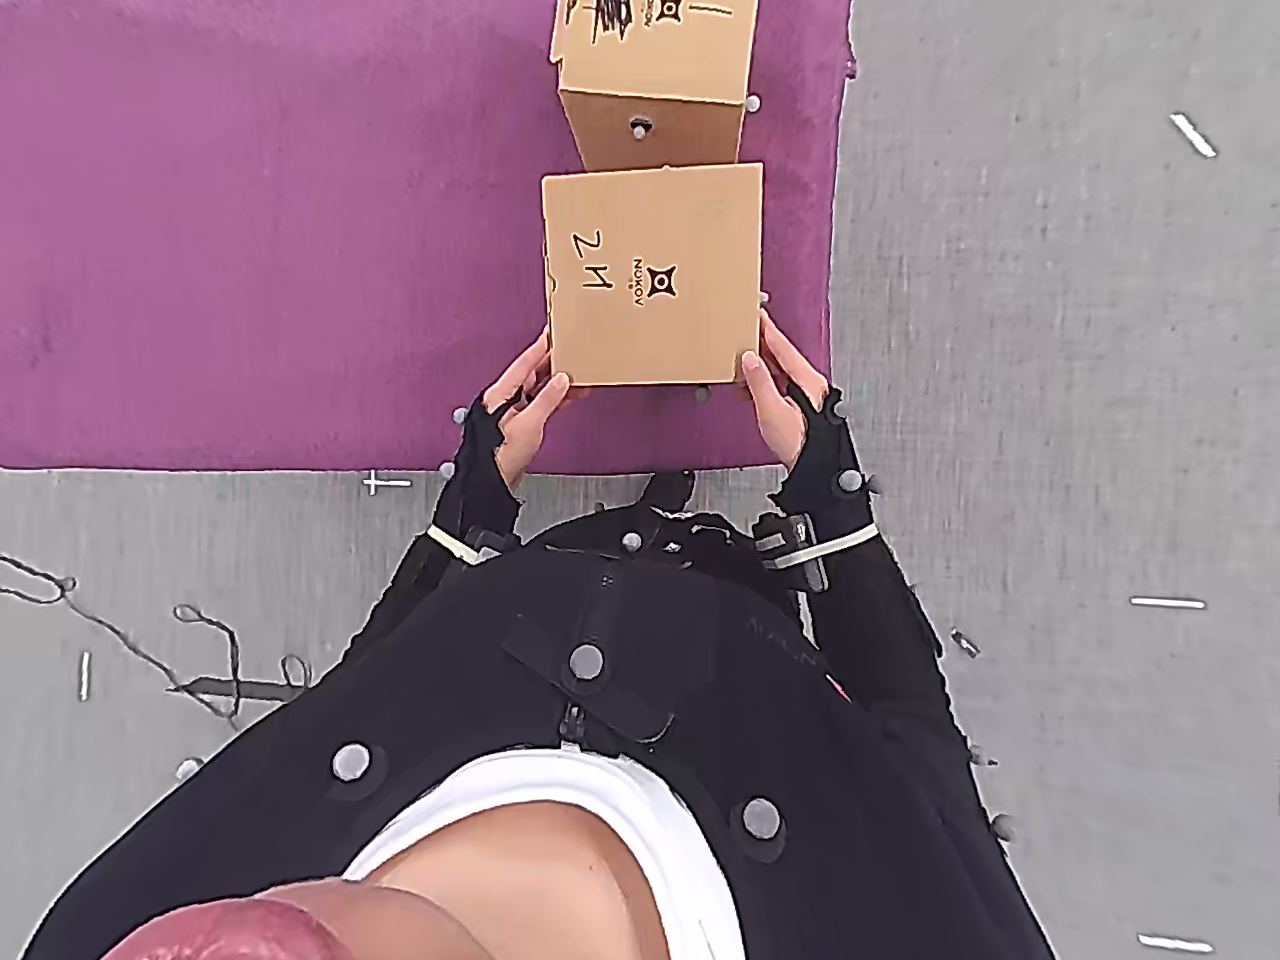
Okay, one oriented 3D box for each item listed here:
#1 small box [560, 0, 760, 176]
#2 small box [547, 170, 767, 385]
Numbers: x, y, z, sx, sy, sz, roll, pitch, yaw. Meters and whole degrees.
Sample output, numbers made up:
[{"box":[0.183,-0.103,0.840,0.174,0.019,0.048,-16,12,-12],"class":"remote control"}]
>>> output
[{"box":[0.028,-0.433,0.579,0.179,0.176,0.168,8,93,5],"class":"small box"},{"box":[0.020,-0.177,0.517,0.179,0.176,0.168,0,101,7],"class":"small box"}]
